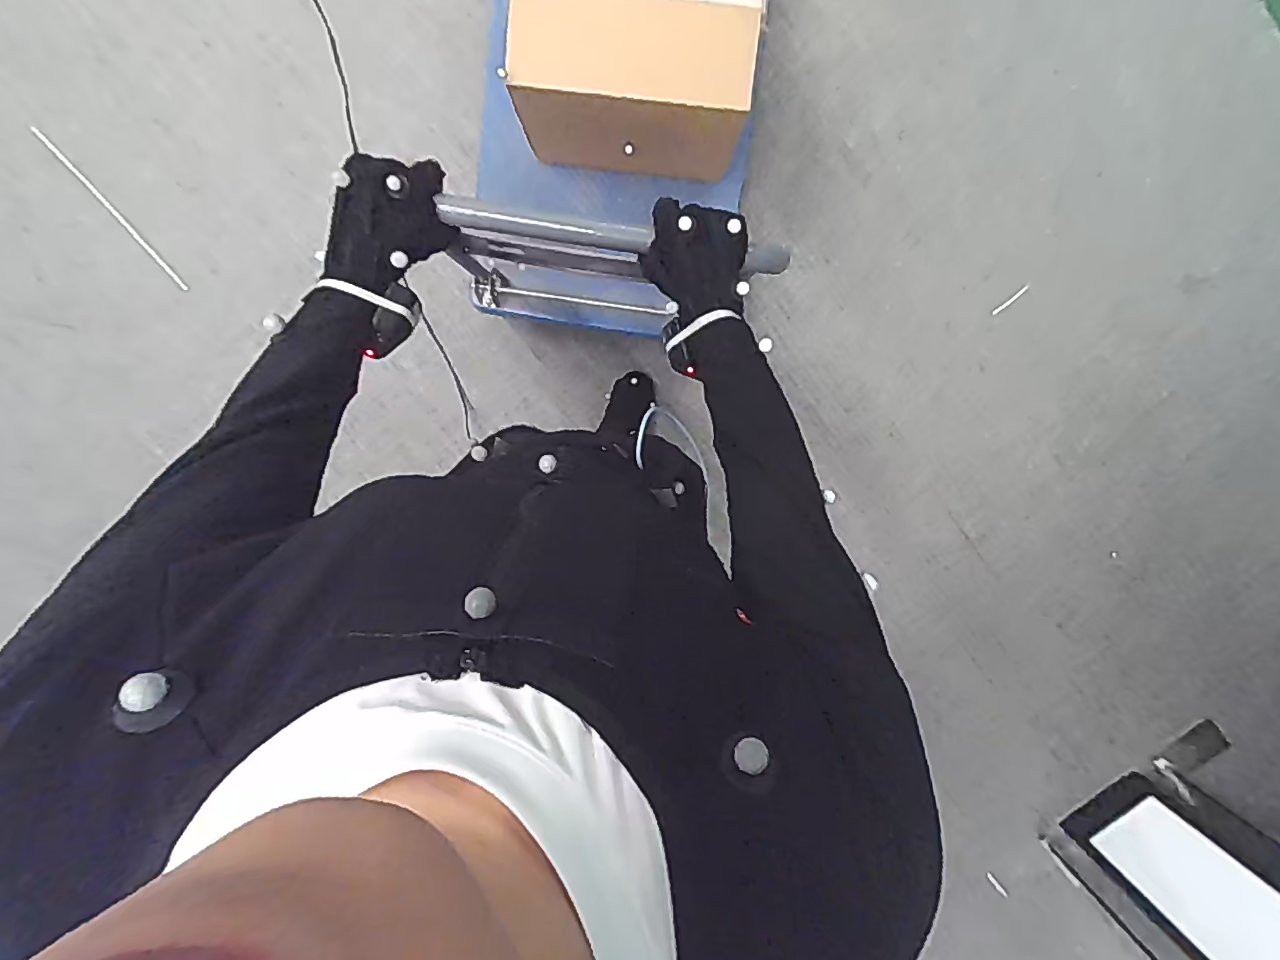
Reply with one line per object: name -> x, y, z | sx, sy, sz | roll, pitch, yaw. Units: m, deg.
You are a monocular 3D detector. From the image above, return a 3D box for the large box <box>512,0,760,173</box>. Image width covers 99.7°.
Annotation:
large box -> -0.003, -0.809, 1.016 | 0.408, 0.320, 0.320 | 5, 99, -1
